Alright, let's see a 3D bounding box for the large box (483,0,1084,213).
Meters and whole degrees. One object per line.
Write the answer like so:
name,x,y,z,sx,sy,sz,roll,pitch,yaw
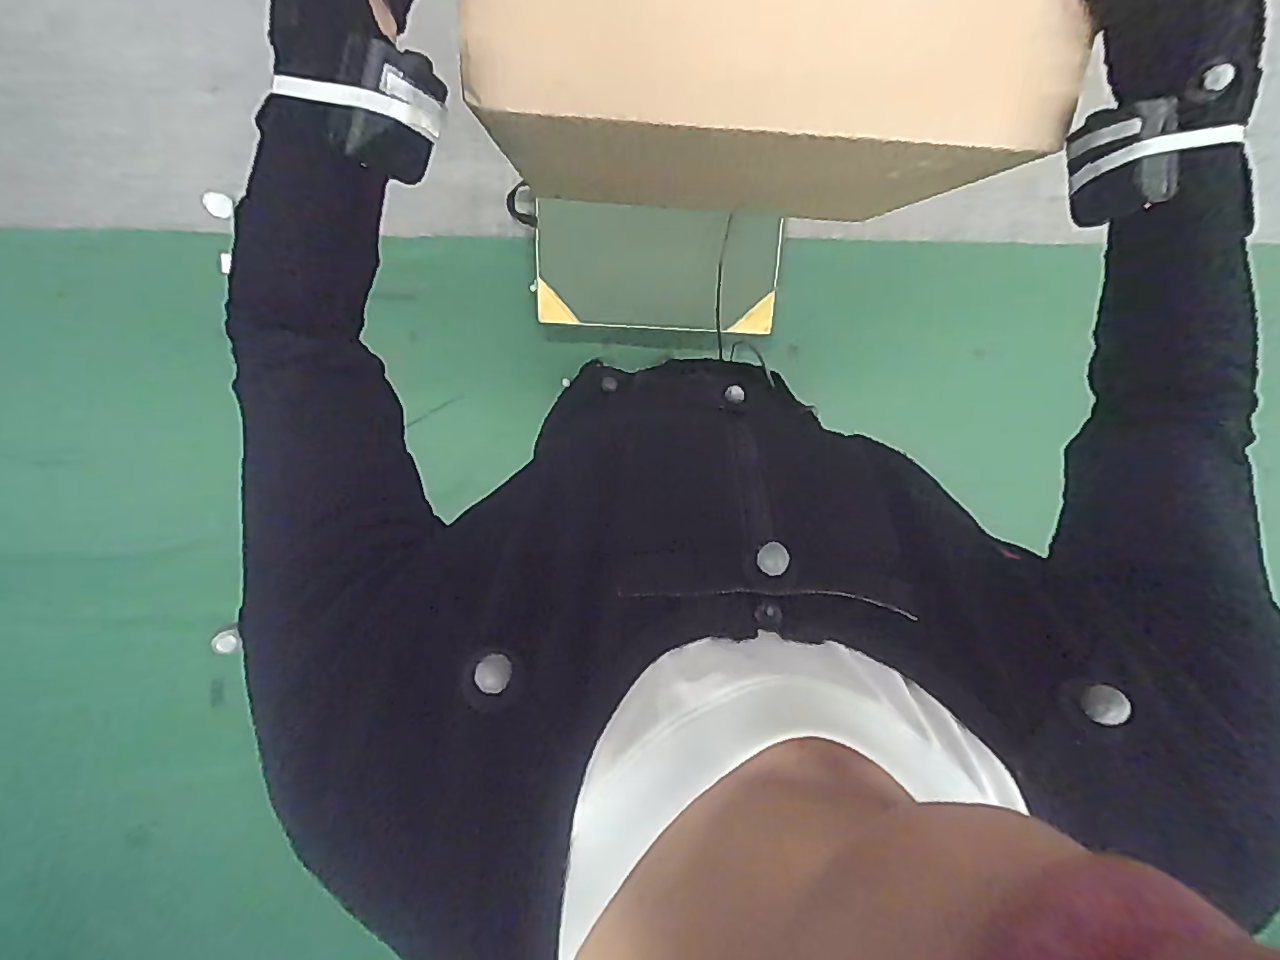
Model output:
large box,0.090,-0.432,0.469,0.408,0.320,0.320,2,108,-4
